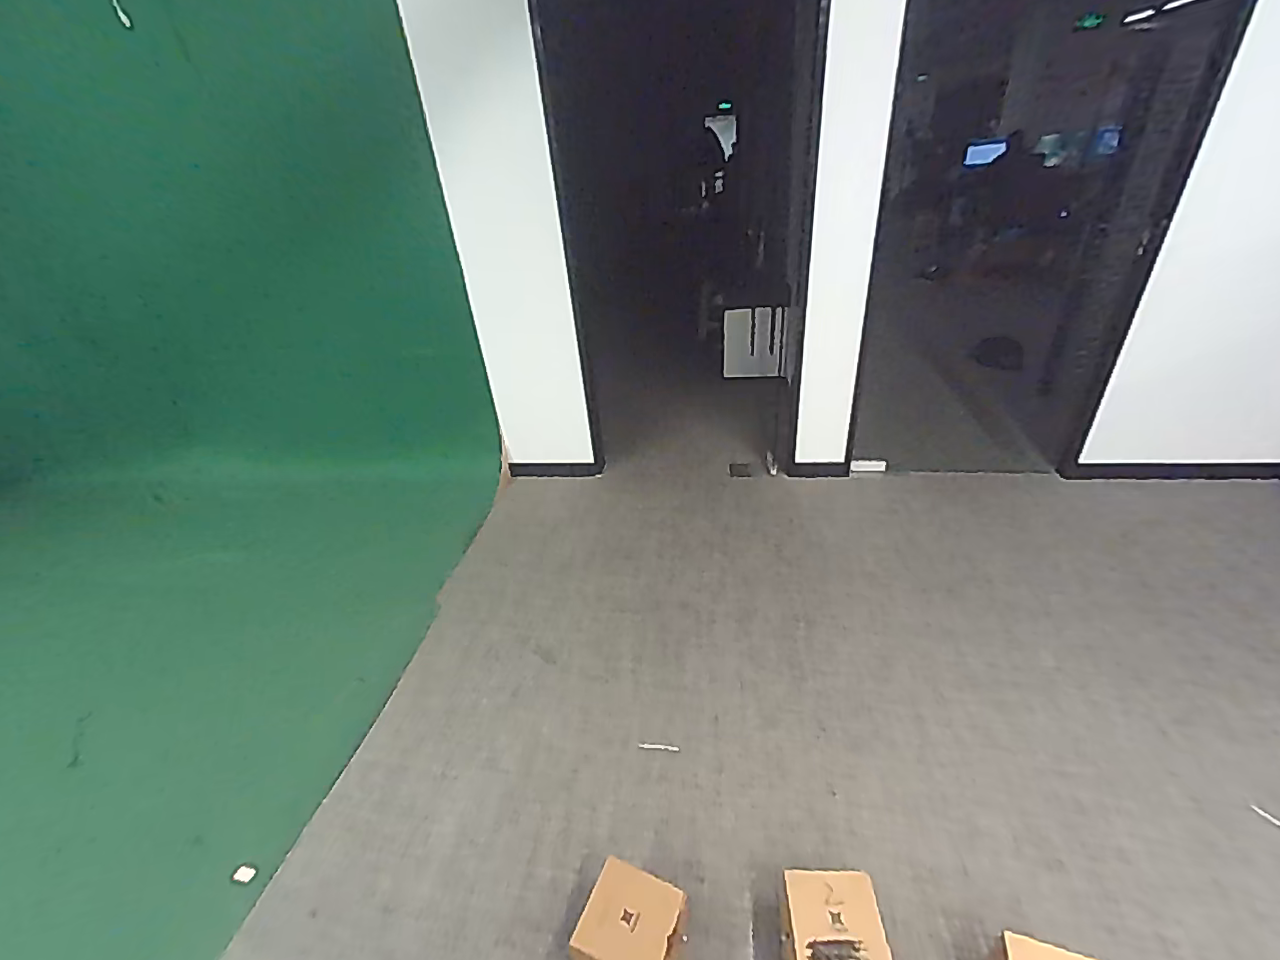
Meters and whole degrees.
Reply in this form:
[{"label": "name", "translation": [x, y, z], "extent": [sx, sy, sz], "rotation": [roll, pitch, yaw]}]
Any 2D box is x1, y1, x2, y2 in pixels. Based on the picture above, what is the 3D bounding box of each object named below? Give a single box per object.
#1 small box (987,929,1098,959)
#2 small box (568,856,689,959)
[{"label": "small box", "translation": [0.700, 0.921, 0.912], "extent": [0.168, 0.176, 0.179], "rotation": [7, 34, 18]}, {"label": "small box", "translation": [-0.013, 0.891, 1.056], "extent": [0.179, 0.176, 0.168], "rotation": [6, 33, 25]}]
